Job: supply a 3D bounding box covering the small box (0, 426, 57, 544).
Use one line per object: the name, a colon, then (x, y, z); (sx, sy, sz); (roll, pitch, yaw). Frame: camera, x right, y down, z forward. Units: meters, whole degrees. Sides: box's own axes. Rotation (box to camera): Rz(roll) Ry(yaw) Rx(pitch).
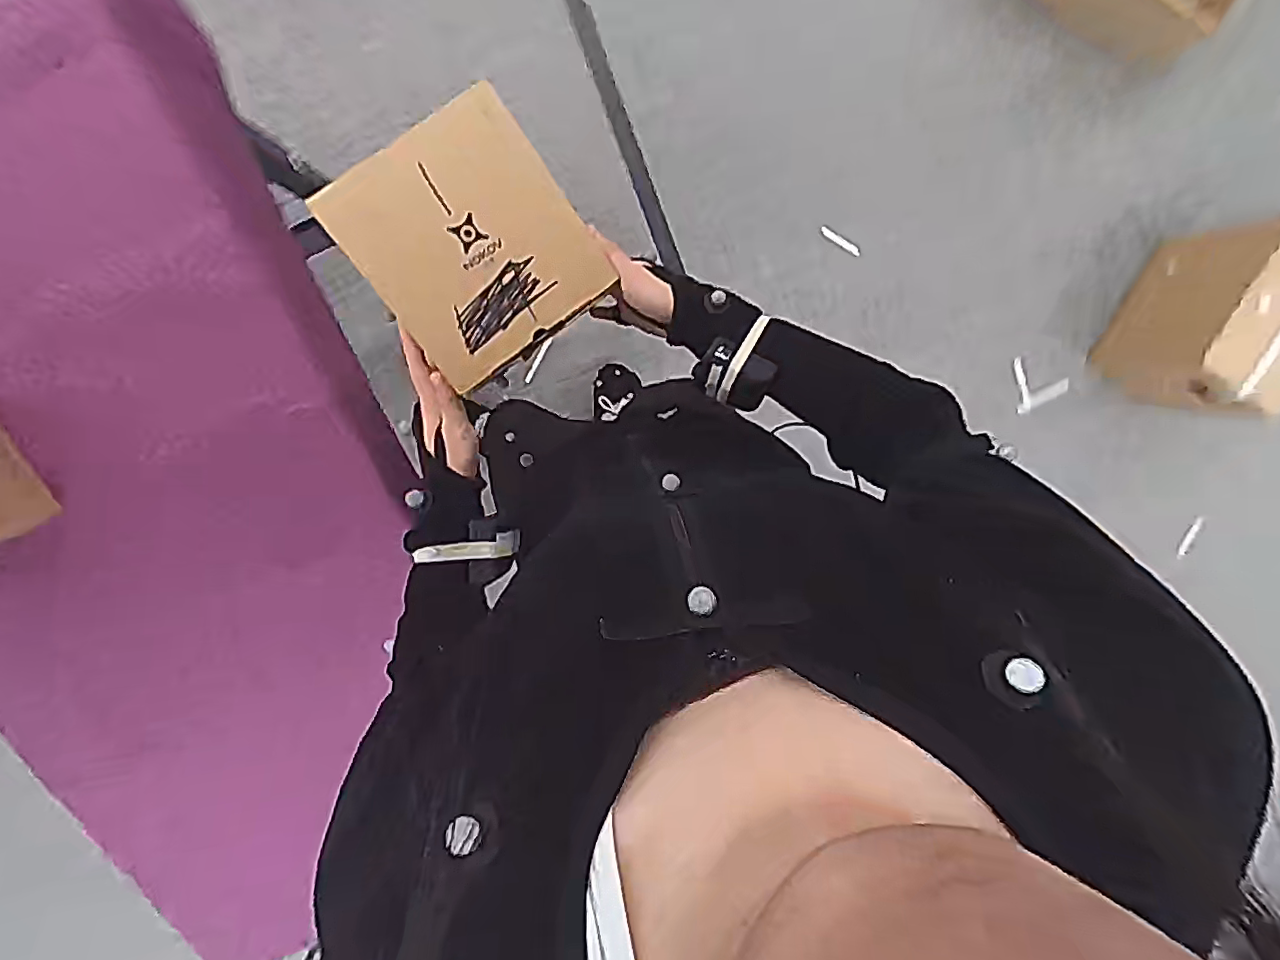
small box: (-0.806, 0.025, 0.565); (0.179, 0.176, 0.168); (-25, 106, -3)
